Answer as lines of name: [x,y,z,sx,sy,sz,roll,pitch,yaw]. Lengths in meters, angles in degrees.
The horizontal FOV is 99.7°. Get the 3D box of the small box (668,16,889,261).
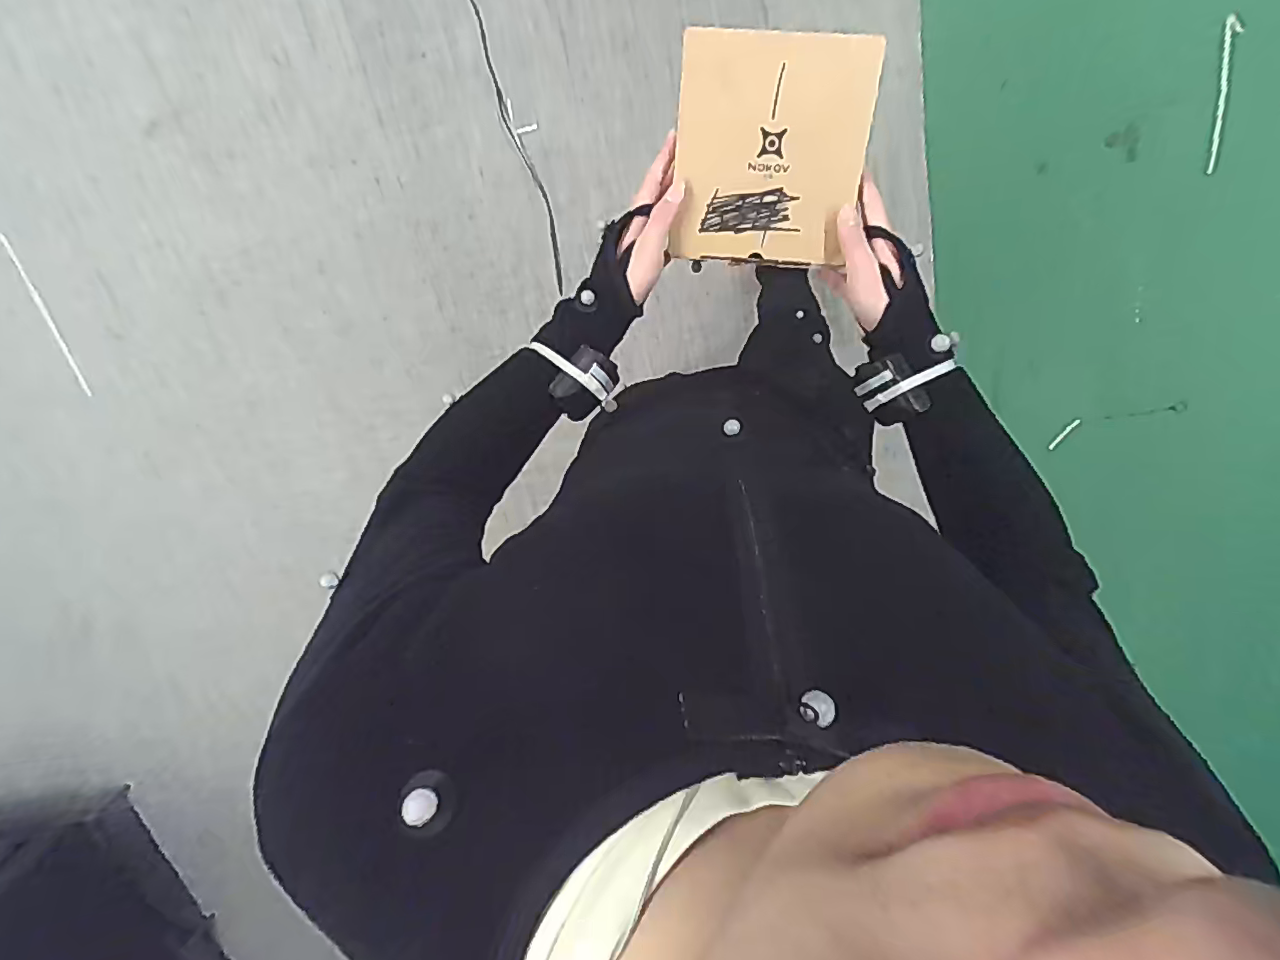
small box: [0.119,-0.318,0.539,0.168,0.176,0.179,4,112,2]
